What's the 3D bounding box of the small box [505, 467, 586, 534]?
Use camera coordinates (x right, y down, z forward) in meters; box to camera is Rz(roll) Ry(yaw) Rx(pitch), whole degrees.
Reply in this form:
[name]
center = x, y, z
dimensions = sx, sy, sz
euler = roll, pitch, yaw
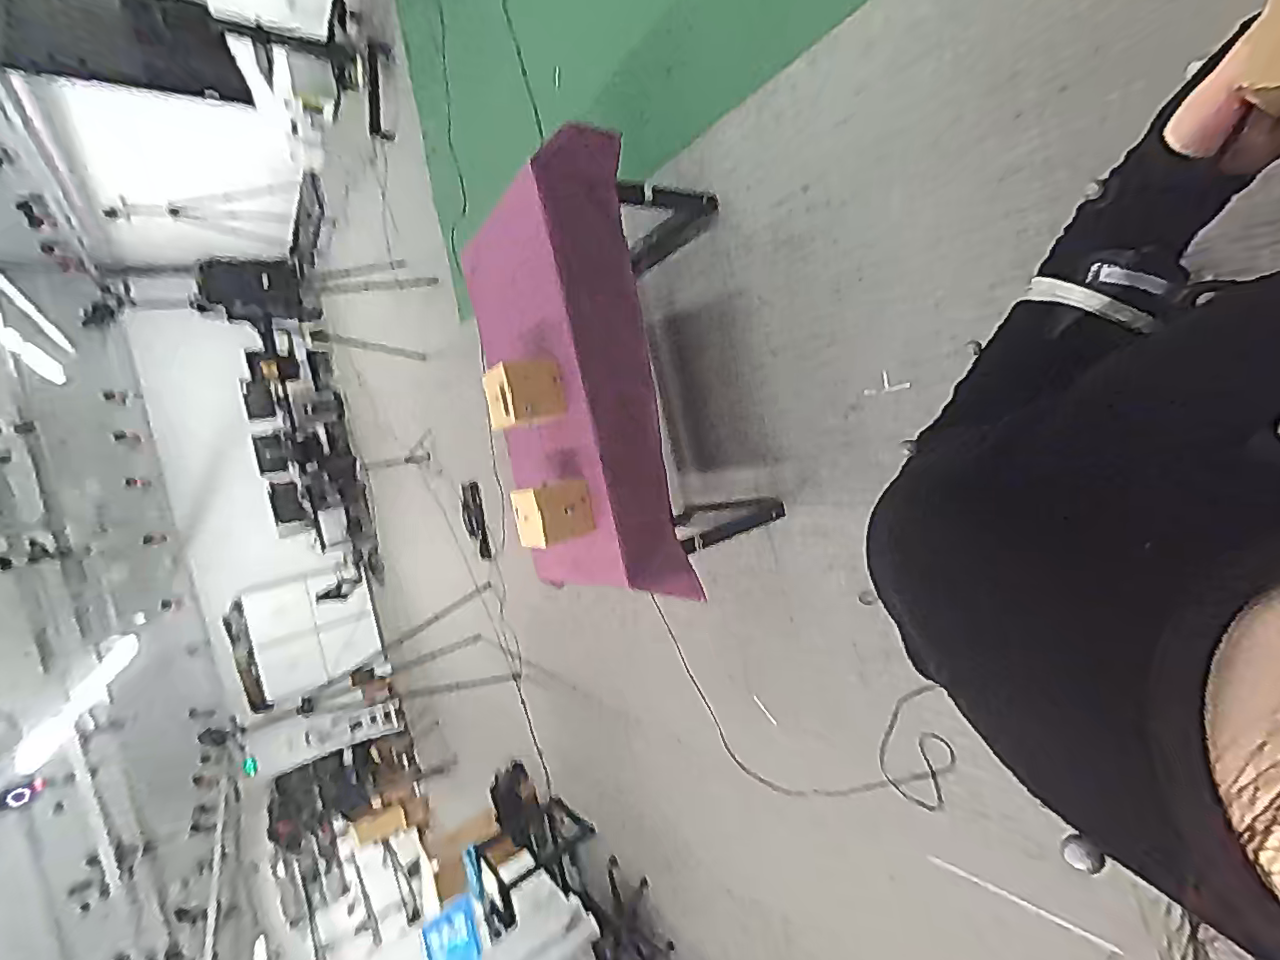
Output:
[small box]
center = -0.275, 0.057, 1.604
dimensions = 0.179, 0.176, 0.168
euler = -4, 99, 53
